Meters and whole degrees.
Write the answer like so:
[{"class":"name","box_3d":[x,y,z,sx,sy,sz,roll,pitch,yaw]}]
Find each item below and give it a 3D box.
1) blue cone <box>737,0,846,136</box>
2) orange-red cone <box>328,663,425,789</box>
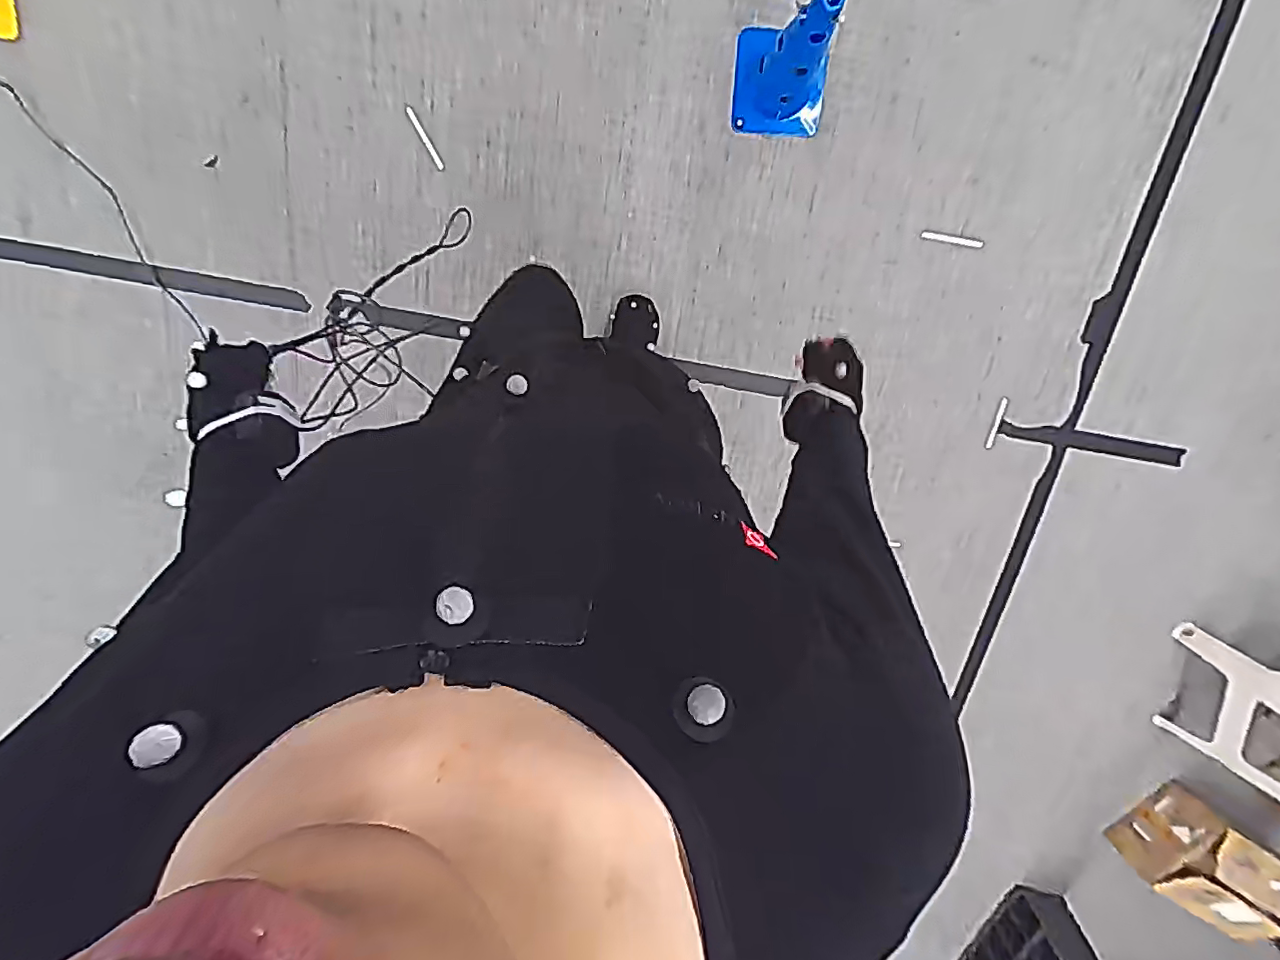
[{"class":"blue cone","box_3d":[0.313,-0.822,1.038,0.193,0.380,0.192,4,108,-1]},{"class":"orange-red cone","box_3d":[-0.780,0.721,1.549,0.199,0.360,0.198,4,109,-2]}]
